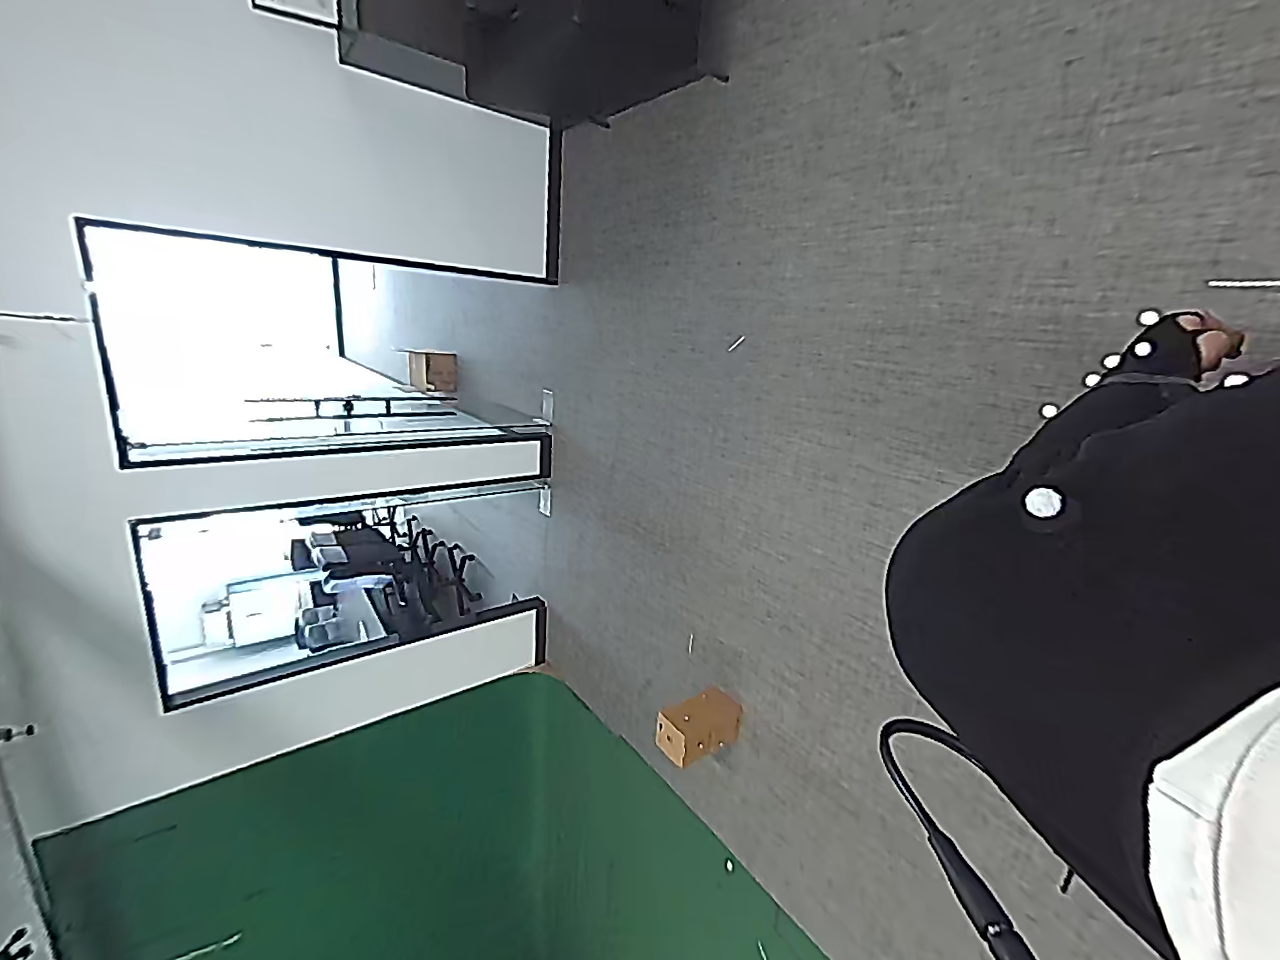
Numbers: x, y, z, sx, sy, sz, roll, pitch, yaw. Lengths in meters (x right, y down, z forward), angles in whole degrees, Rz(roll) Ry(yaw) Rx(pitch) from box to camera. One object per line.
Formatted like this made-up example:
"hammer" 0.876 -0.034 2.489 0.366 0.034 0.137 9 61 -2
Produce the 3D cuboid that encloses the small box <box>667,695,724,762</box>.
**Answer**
"small box" 0.238 1.057 2.317 0.179 0.176 0.168 24 114 49
